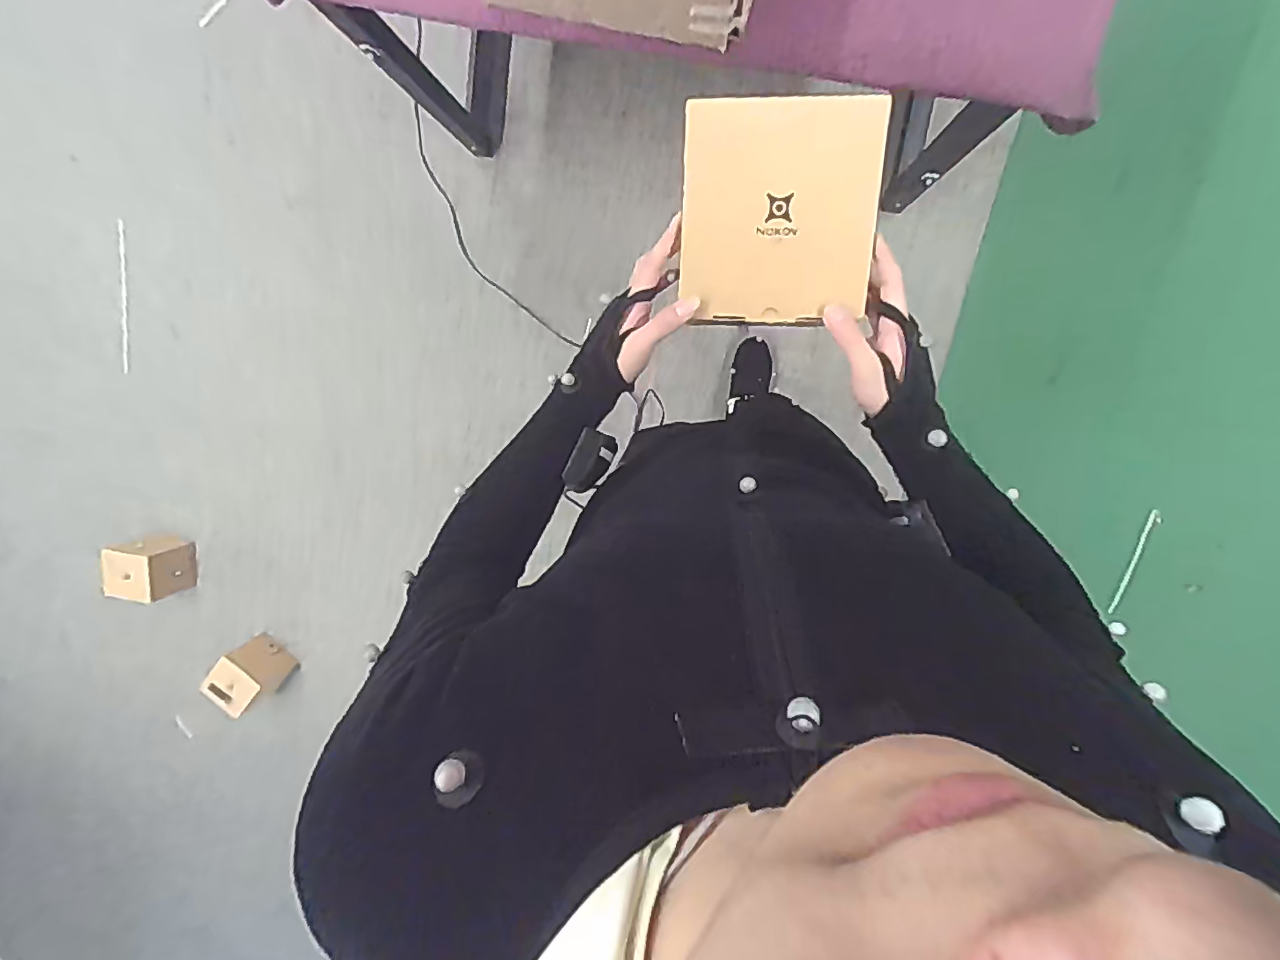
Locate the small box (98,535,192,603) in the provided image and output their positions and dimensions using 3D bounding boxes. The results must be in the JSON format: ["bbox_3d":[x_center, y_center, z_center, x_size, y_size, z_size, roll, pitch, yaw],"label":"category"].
[{"bbox_3d":[-1.662,0.294,1.826,0.179,0.176,0.168,9,101,6],"label":"small box"}]
